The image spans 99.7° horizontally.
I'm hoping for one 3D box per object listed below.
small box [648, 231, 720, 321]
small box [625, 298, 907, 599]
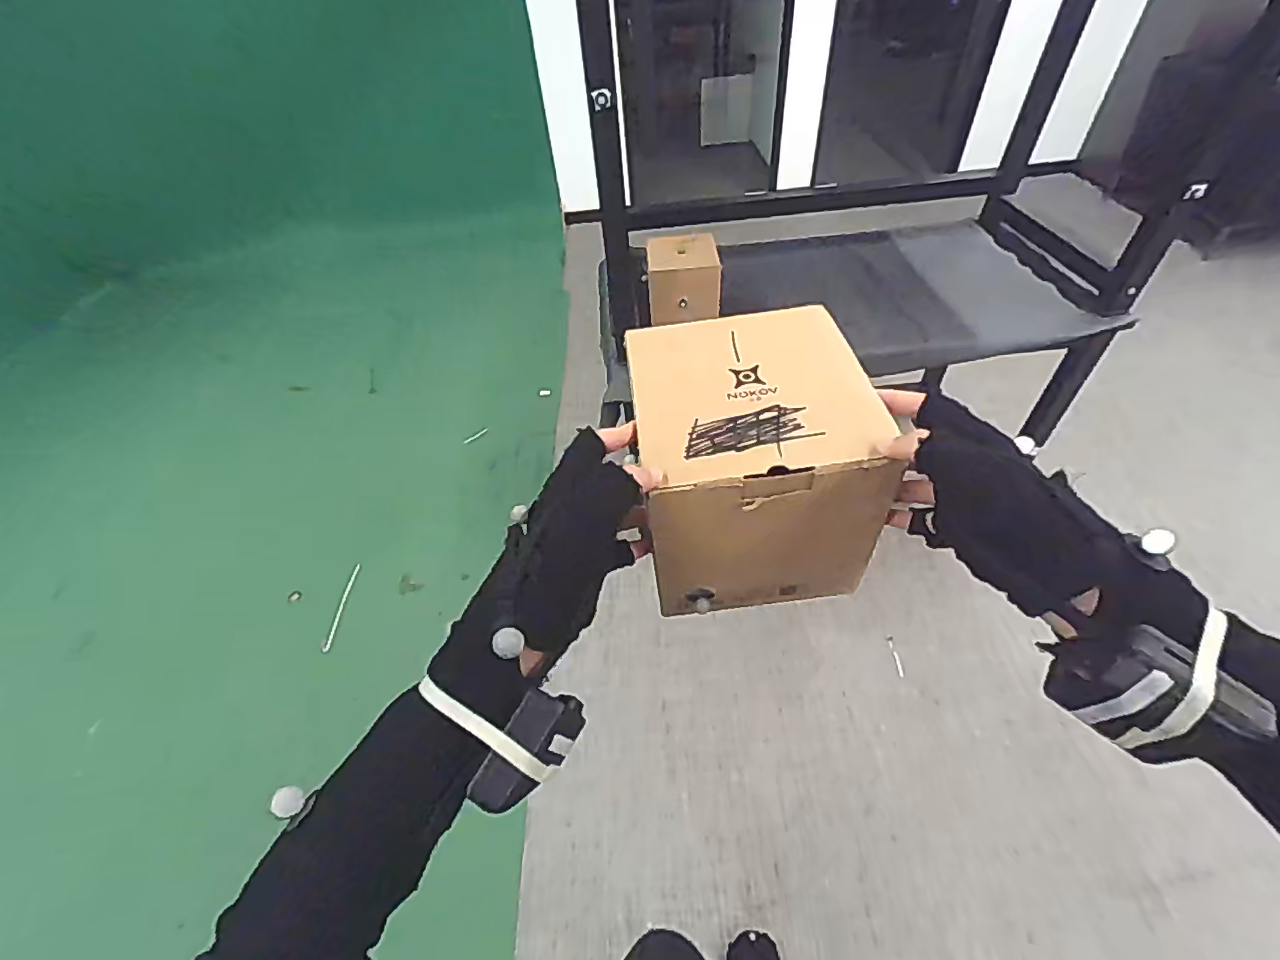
[{"bbox_3d":[0.107,-0.490,1.334,0.168,0.176,0.179,-3,47,2],"label":"small box"},{"bbox_3d":[0.082,-0.017,0.436,0.168,0.176,0.179,-7,48,1],"label":"small box"}]
